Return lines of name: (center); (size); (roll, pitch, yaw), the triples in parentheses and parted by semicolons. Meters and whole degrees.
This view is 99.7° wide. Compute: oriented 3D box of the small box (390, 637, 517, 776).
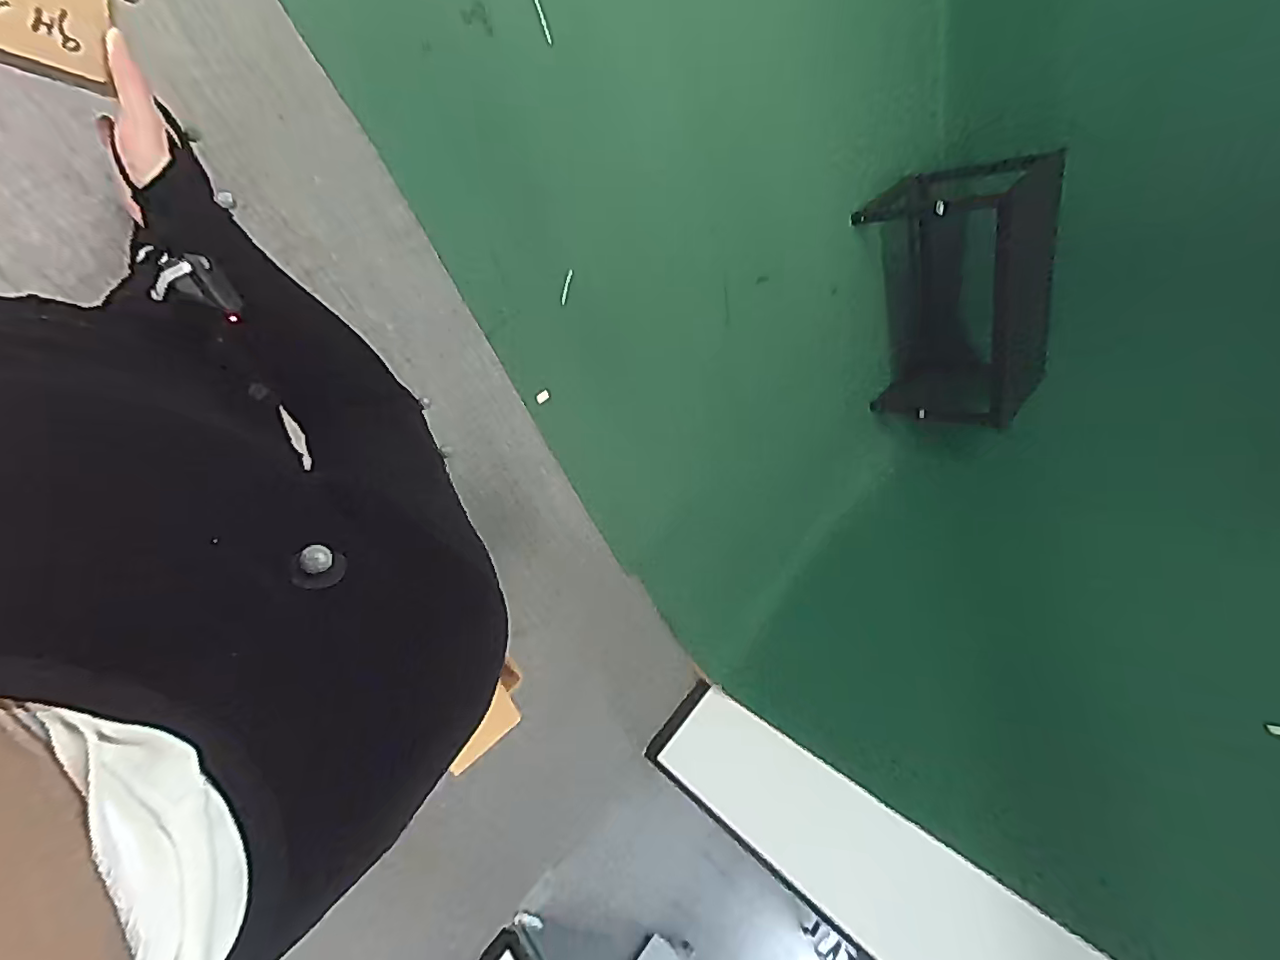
small box: (-0.395, 0.471, 1.146); (0.168, 0.176, 0.179); (-36, 125, -28)

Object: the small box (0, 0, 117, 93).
small box: (-0.500, -0.418, 0.394); (0.168, 0.176, 0.179); (-2, 116, -42)
